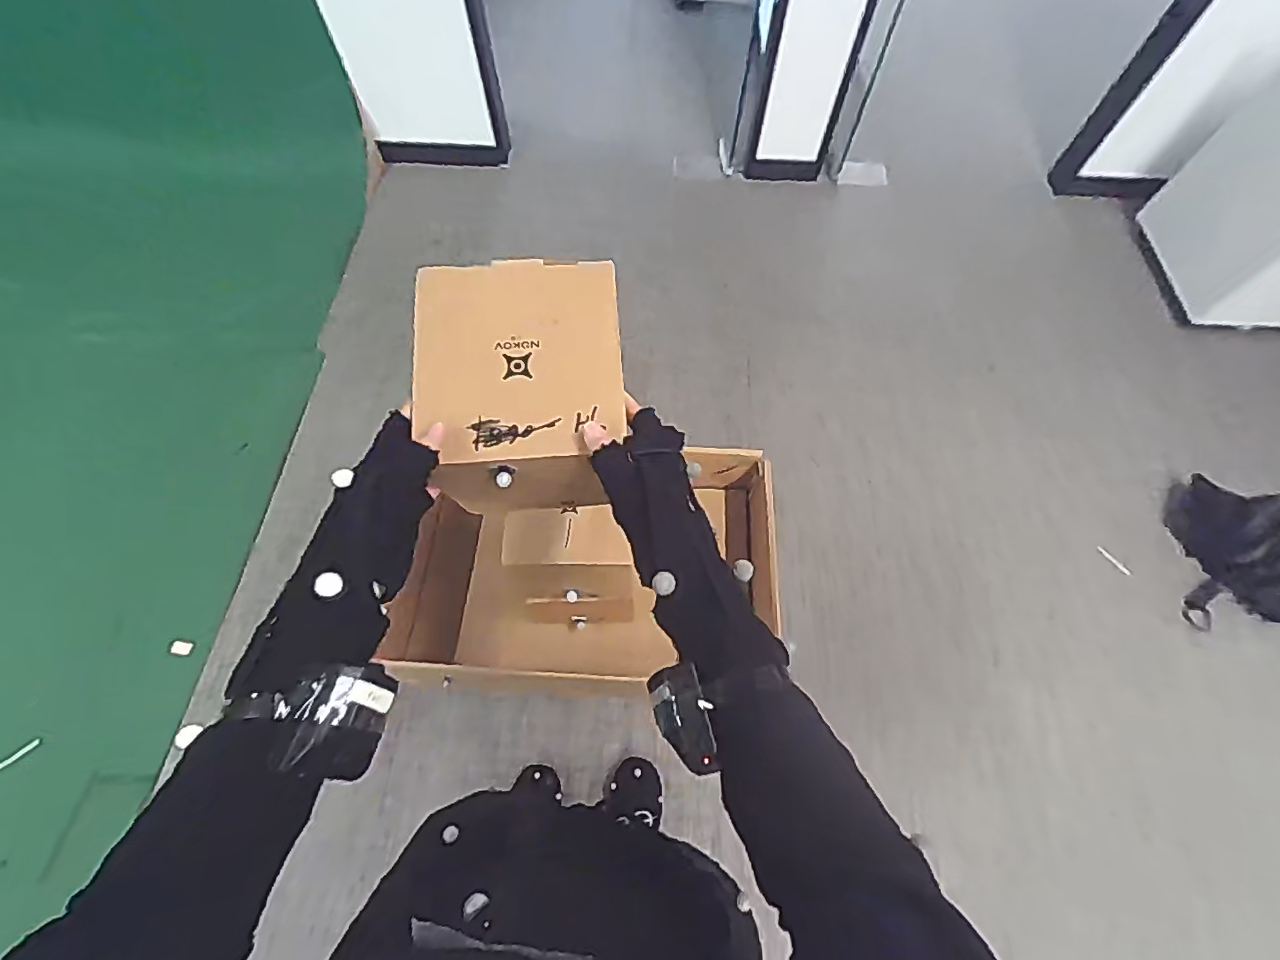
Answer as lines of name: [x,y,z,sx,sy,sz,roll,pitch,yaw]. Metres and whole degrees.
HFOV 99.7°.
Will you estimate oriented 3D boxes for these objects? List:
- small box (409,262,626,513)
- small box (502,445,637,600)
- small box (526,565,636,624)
small box: [-0.101,-0.076,0.510,0.168,0.176,0.179,-5,75,-2]
small box: [-0.089,0.064,0.776,0.168,0.176,0.179,0,64,1]
small box: [-0.092,0.140,0.921,0.168,0.176,0.179,-1,64,-1]
